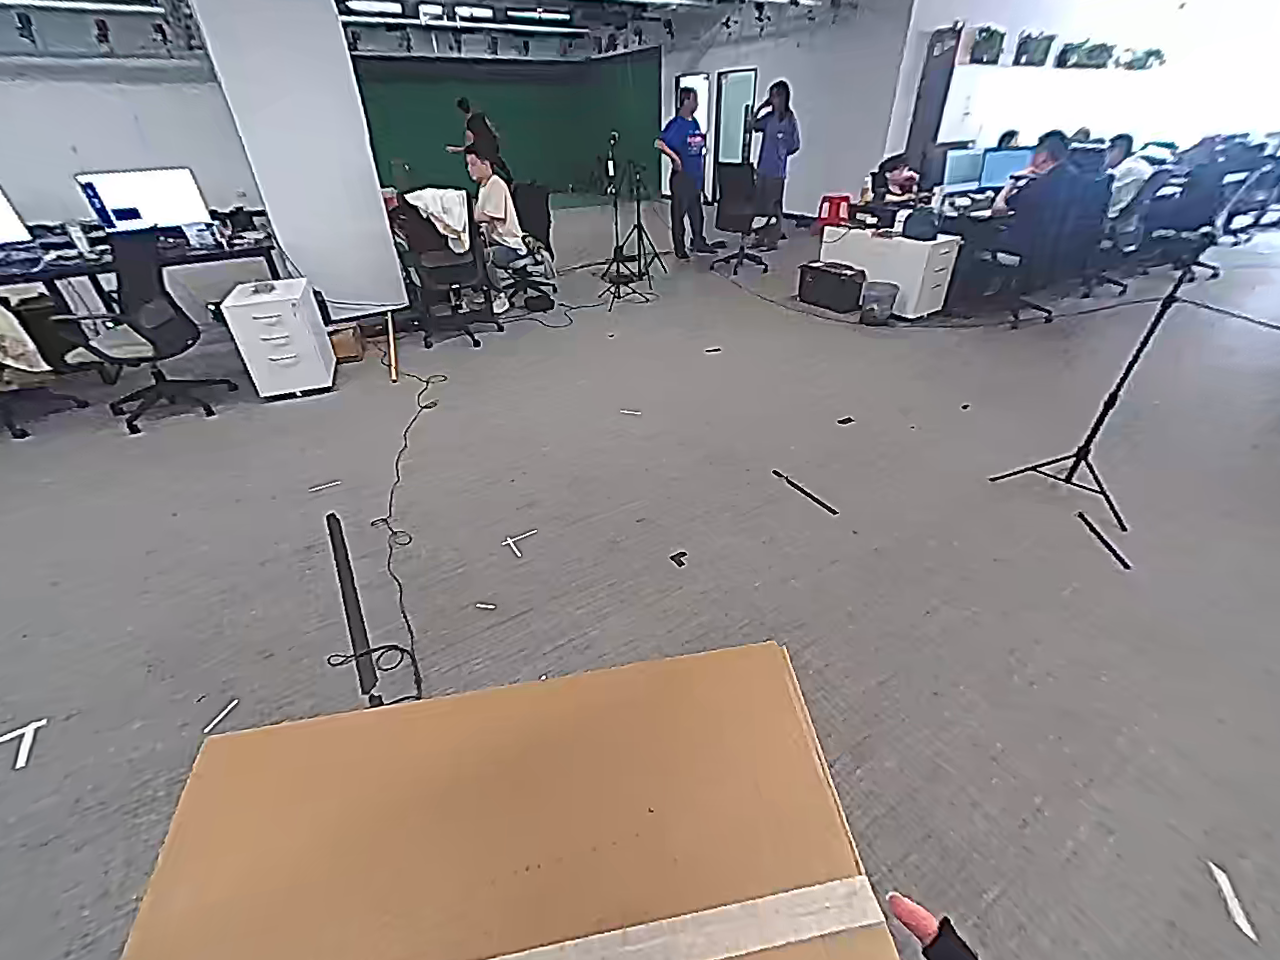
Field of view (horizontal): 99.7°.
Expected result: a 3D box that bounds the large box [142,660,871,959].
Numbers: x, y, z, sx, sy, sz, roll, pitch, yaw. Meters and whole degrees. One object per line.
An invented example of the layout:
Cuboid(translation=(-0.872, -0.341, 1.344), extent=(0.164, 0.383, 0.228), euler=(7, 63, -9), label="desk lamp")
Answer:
Cuboid(translation=(-0.068, 0.373, 0.398), extent=(0.408, 0.320, 0.320), euler=(-8, 47, -5), label="large box")
